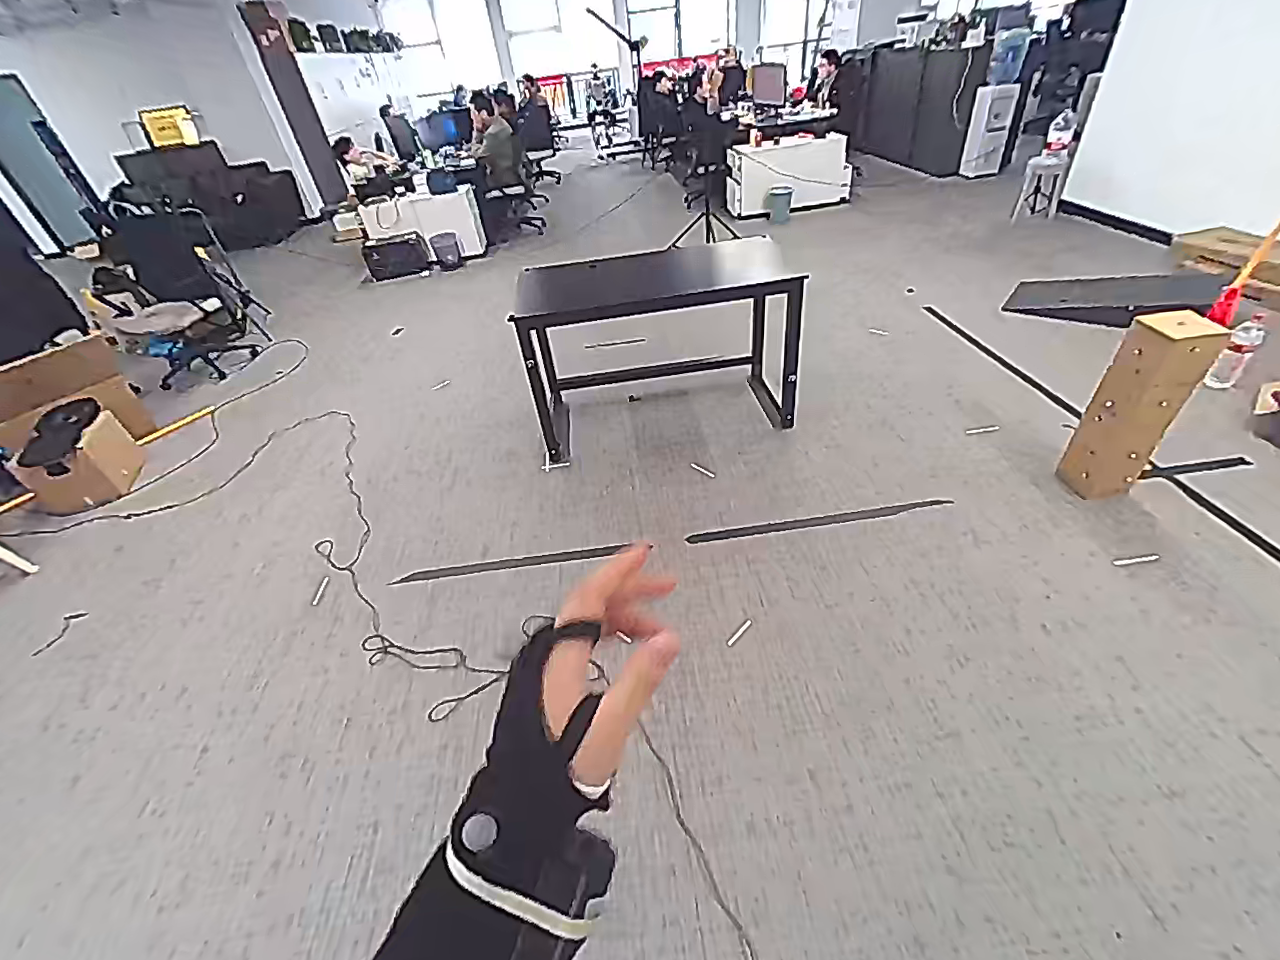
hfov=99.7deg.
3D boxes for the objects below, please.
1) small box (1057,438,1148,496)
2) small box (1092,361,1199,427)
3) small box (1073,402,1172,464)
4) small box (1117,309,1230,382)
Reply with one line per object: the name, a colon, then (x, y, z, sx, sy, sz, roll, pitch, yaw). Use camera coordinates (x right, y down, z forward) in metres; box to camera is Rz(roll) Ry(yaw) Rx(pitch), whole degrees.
small box: (1.743, -0.054, 2.047, 0.168, 0.176, 0.179, -9, 38, -1)
small box: (1.703, -0.301, 1.835, 0.179, 0.176, 0.168, -10, 39, -1)
small box: (1.722, -0.178, 1.943, 0.179, 0.176, 0.168, -9, 39, -2)
small box: (1.686, -0.425, 1.727, 0.179, 0.176, 0.168, -7, 40, 2)
